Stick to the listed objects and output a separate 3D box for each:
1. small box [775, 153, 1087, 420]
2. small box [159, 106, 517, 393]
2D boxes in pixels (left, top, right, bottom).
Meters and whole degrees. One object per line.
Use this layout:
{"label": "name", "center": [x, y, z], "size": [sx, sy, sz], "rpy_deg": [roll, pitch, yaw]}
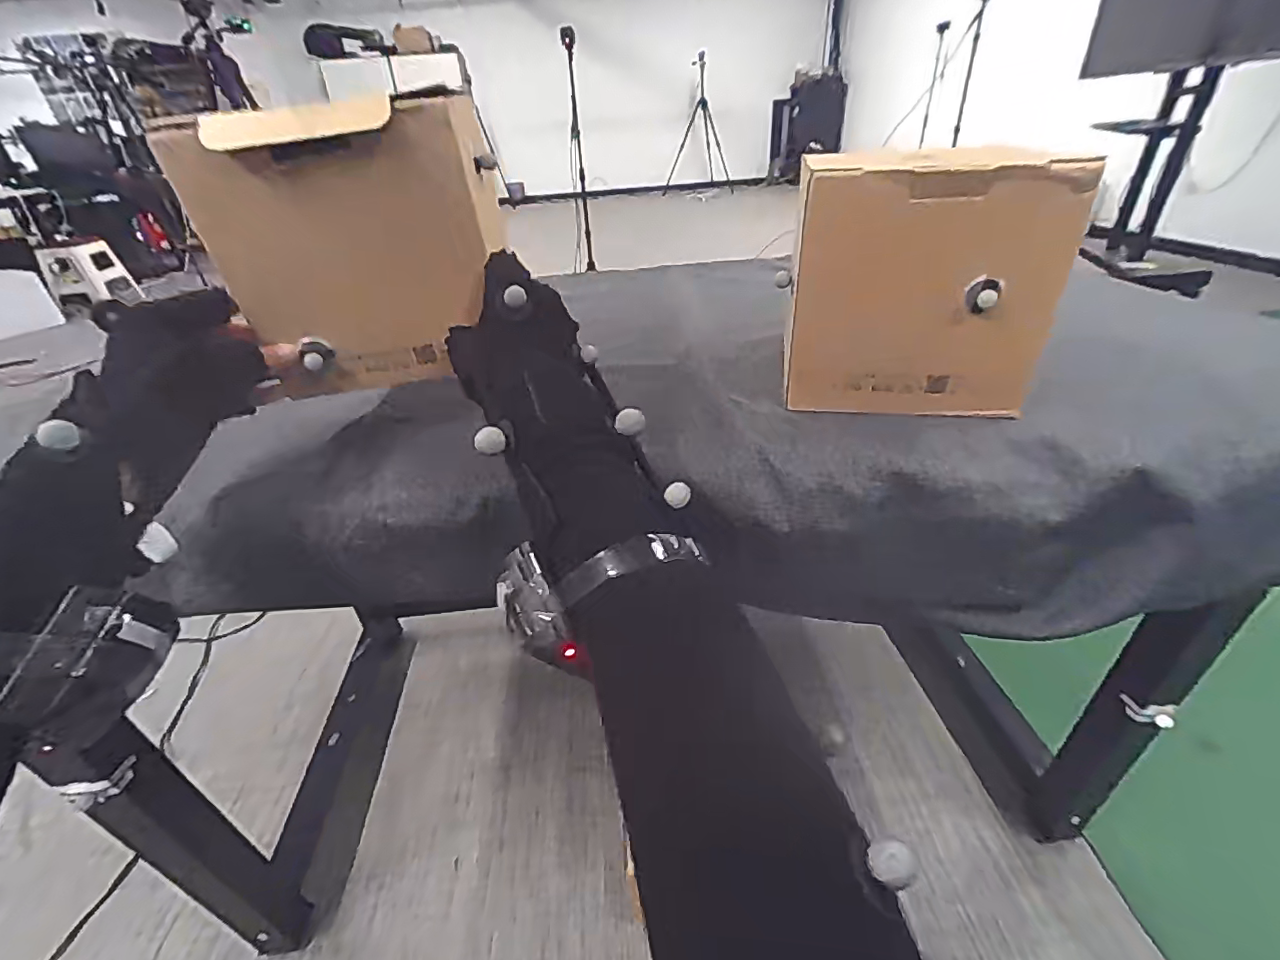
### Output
{"label": "small box", "center": [0.201, -0.158, 0.436], "size": [0.168, 0.176, 0.179], "rpy_deg": [4, 33, 11]}
{"label": "small box", "center": [-0.197, -0.177, 0.424], "size": [0.168, 0.176, 0.179], "rpy_deg": [-11, 36, -4]}
